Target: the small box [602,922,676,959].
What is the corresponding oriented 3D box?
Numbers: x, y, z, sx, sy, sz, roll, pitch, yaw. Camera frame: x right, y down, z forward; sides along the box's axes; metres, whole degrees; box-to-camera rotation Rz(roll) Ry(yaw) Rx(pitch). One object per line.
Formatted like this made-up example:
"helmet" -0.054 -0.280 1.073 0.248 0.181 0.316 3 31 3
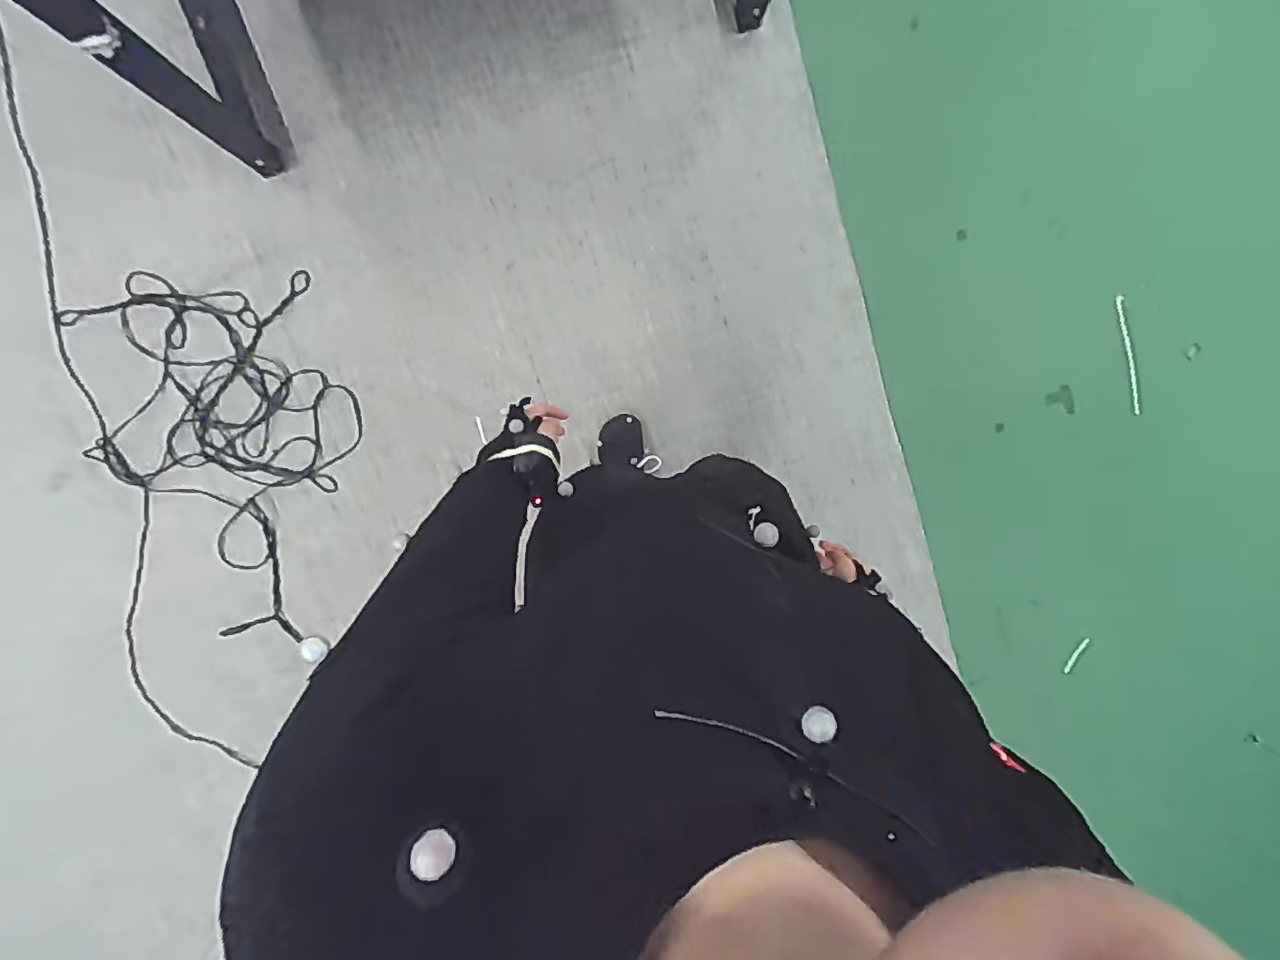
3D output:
"small box" 0.008 1.345 1.437 0.168 0.176 0.179 -28 98 -1
